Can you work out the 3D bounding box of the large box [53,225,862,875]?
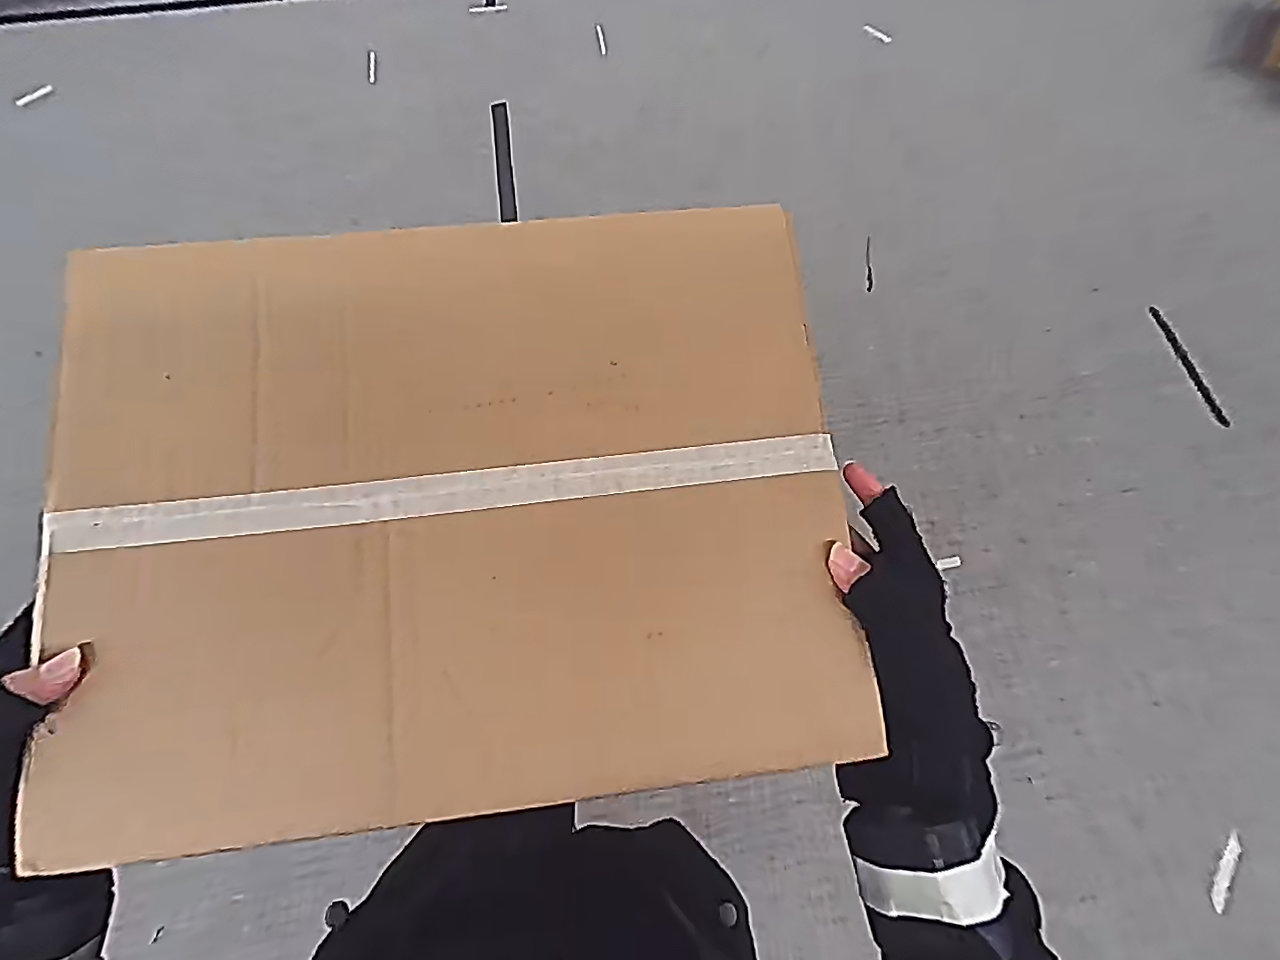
[{"bbox_3d":[-0.103,0.041,0.440,0.408,0.320,0.320,-6,79,-4],"label":"large box"}]
